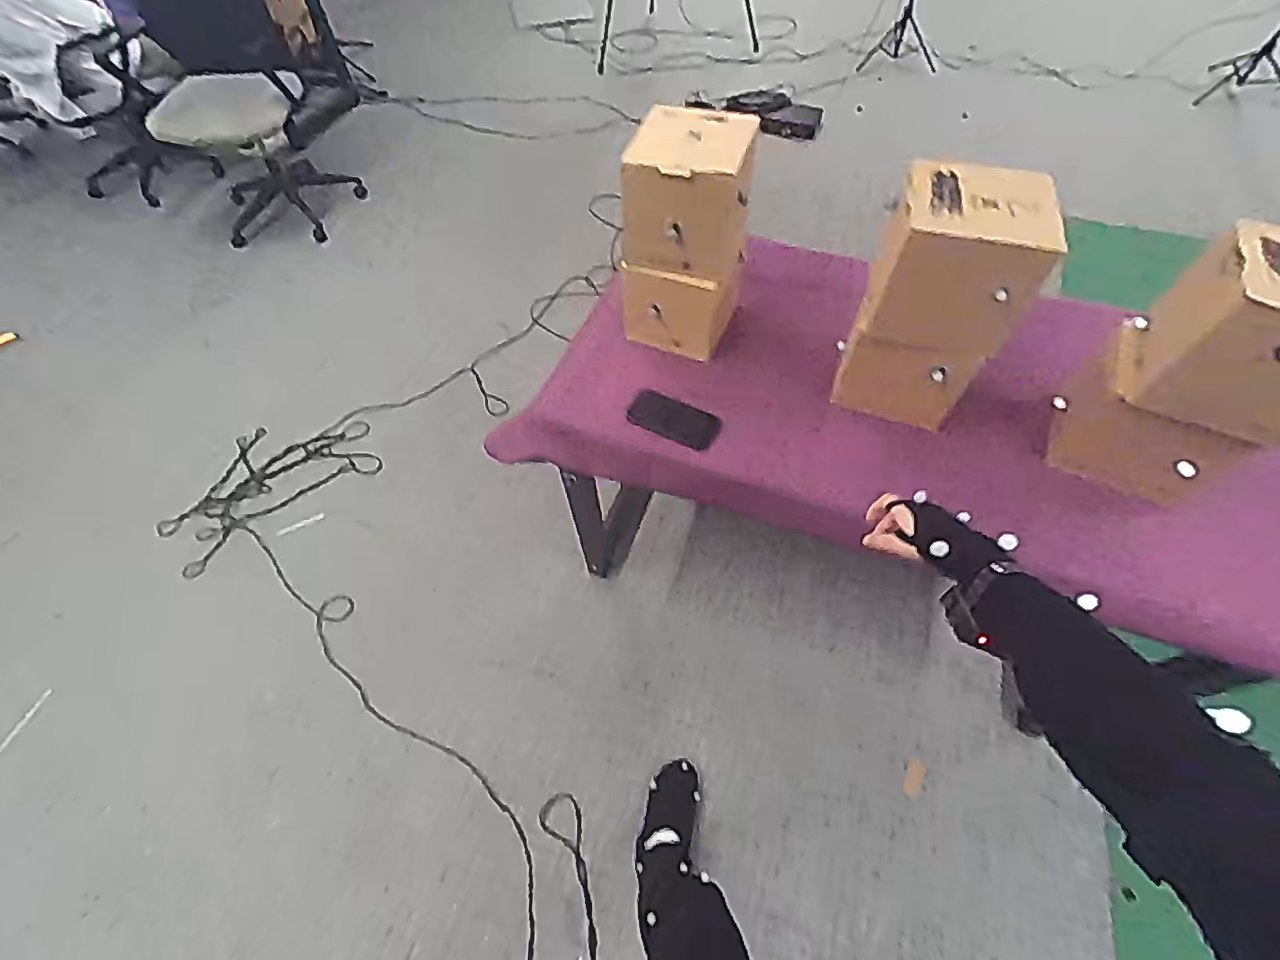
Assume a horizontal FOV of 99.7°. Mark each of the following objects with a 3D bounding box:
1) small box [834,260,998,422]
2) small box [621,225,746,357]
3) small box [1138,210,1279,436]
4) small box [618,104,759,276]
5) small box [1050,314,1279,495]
[{"bbox_3d":[0.434,-0.217,0.867,0.179,0.176,0.168,18,60,14],"label":"small box"},{"bbox_3d":[0.082,-0.349,0.973,0.168,0.176,0.179,19,60,14],"label":"small box"},{"bbox_3d":[0.737,-0.178,0.631,0.179,0.176,0.168,24,61,16],"label":"small box"},{"bbox_3d":[0.077,-0.445,0.840,0.168,0.176,0.179,14,60,11],"label":"small box"},{"bbox_3d":[0.743,-0.102,0.778,0.179,0.176,0.168,23,61,19],"label":"small box"}]
